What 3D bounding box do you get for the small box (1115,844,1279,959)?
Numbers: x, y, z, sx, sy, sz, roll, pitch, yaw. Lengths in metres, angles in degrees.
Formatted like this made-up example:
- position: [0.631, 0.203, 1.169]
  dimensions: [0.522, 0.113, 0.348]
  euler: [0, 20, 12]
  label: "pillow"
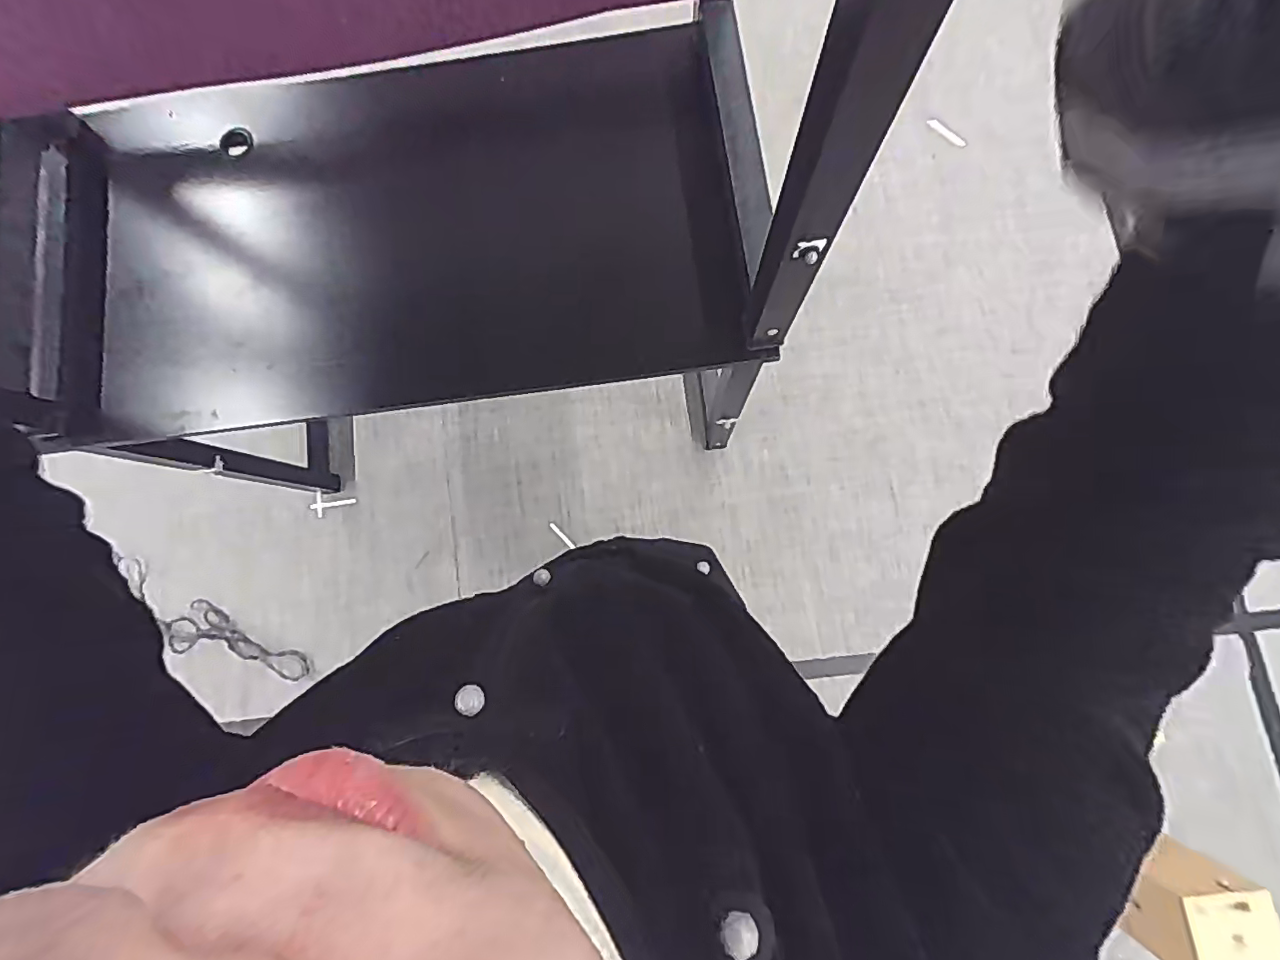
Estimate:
- position: [1.131, 0.884, 1.102]
  dimensions: [0.168, 0.176, 0.179]
  euler: [-6, 83, 1]
  label: "small box"
